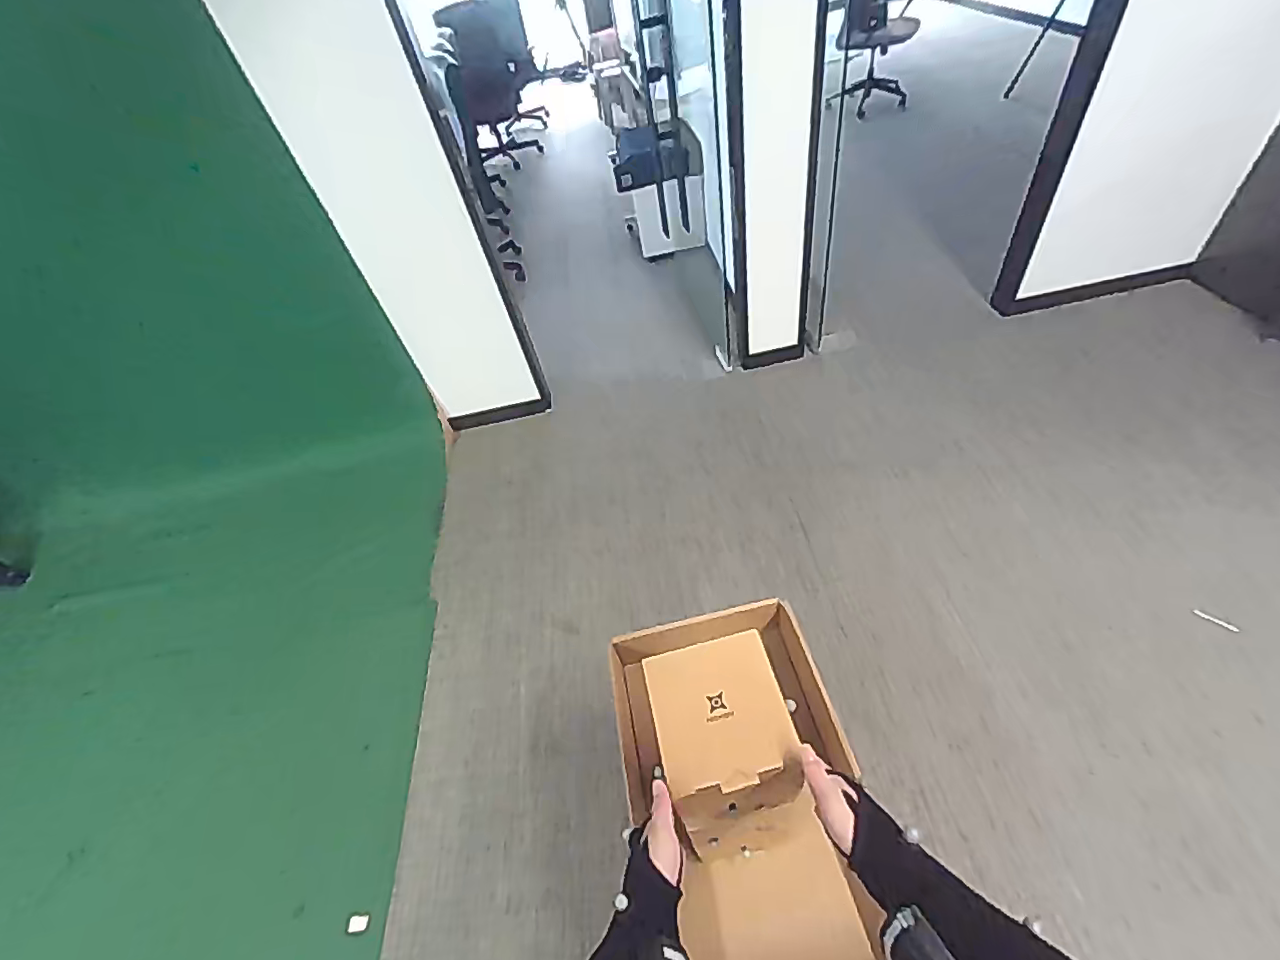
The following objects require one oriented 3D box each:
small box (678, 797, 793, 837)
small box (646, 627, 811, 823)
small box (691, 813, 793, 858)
[{"bbox_3d":[0.136,0.439,0.852,0.168,0.176,0.179,-15,45,-1],"label":"small box"},{"bbox_3d":[0.113,0.332,0.731,0.168,0.176,0.179,-15,47,-2],"label":"small box"},{"bbox_3d":[0.165,0.548,0.971,0.168,0.176,0.179,-14,46,1],"label":"small box"}]
